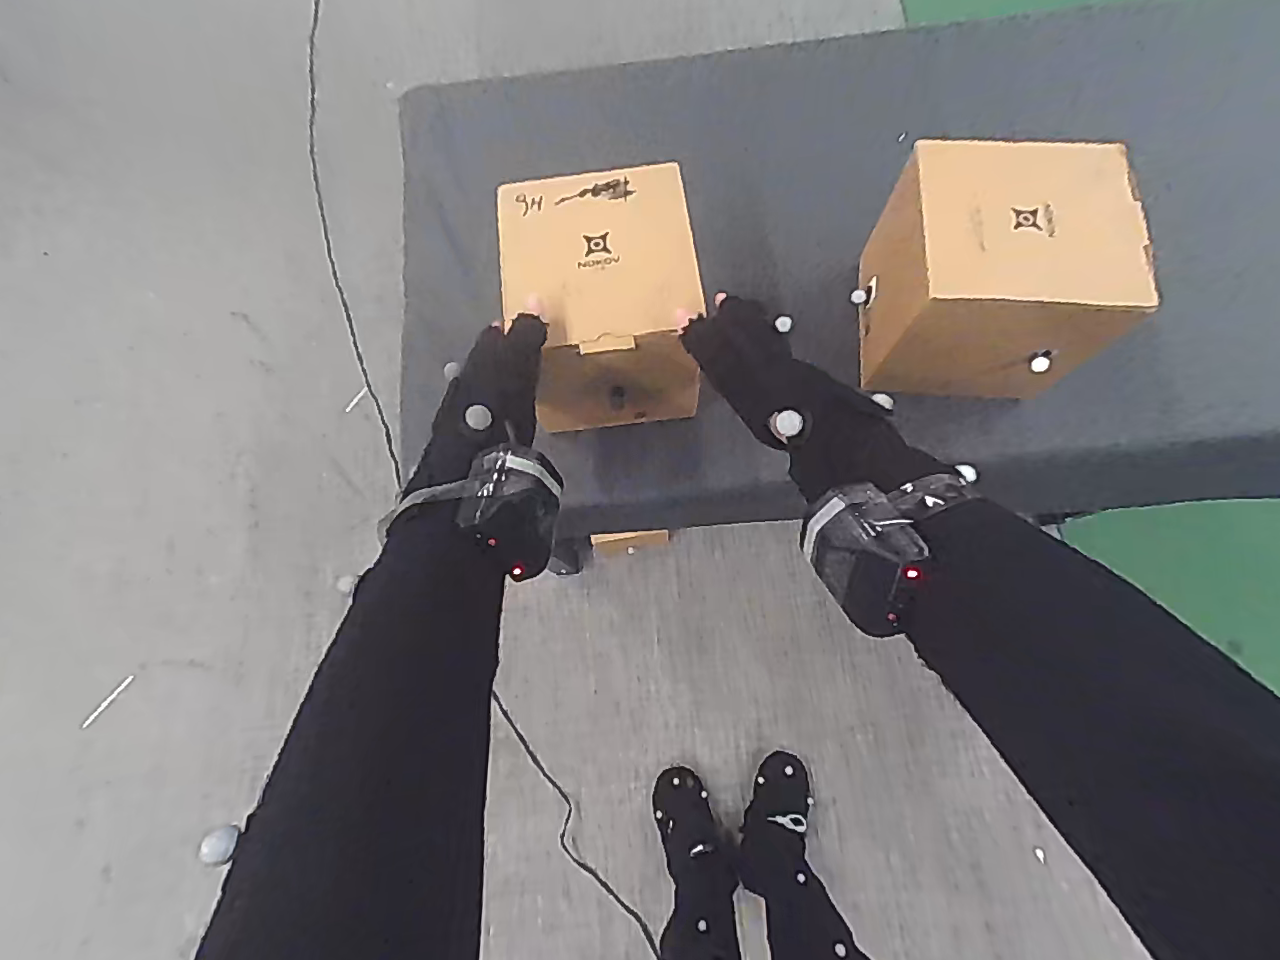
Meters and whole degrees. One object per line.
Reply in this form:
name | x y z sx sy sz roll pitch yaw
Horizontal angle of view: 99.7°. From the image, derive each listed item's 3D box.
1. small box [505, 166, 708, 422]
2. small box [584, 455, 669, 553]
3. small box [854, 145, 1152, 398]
small box | -0.029 -0.167 0.537 0.168 0.176 0.179 -7 73 0
small box | -0.030 0.060 1.232 0.168 0.176 0.179 -9 74 0
small box | 0.329 -0.191 0.532 0.179 0.176 0.168 3 72 4
